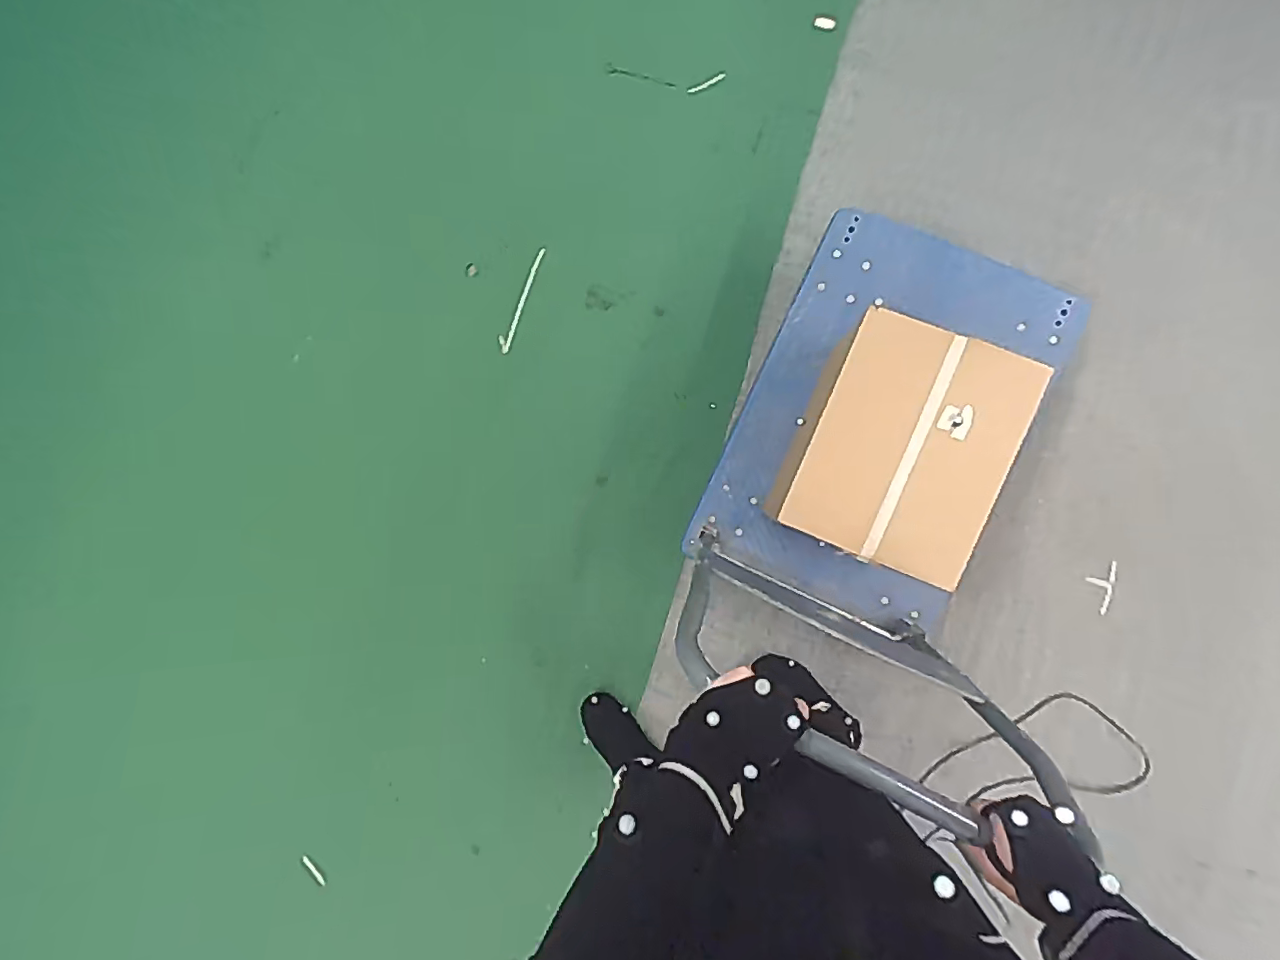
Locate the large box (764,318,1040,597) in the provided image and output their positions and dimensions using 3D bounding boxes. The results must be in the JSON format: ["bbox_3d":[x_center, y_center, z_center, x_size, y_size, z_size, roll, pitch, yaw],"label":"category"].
[{"bbox_3d":[0.468,-0.038,1.063,0.320,0.320,0.408,23,93,6],"label":"large box"}]
